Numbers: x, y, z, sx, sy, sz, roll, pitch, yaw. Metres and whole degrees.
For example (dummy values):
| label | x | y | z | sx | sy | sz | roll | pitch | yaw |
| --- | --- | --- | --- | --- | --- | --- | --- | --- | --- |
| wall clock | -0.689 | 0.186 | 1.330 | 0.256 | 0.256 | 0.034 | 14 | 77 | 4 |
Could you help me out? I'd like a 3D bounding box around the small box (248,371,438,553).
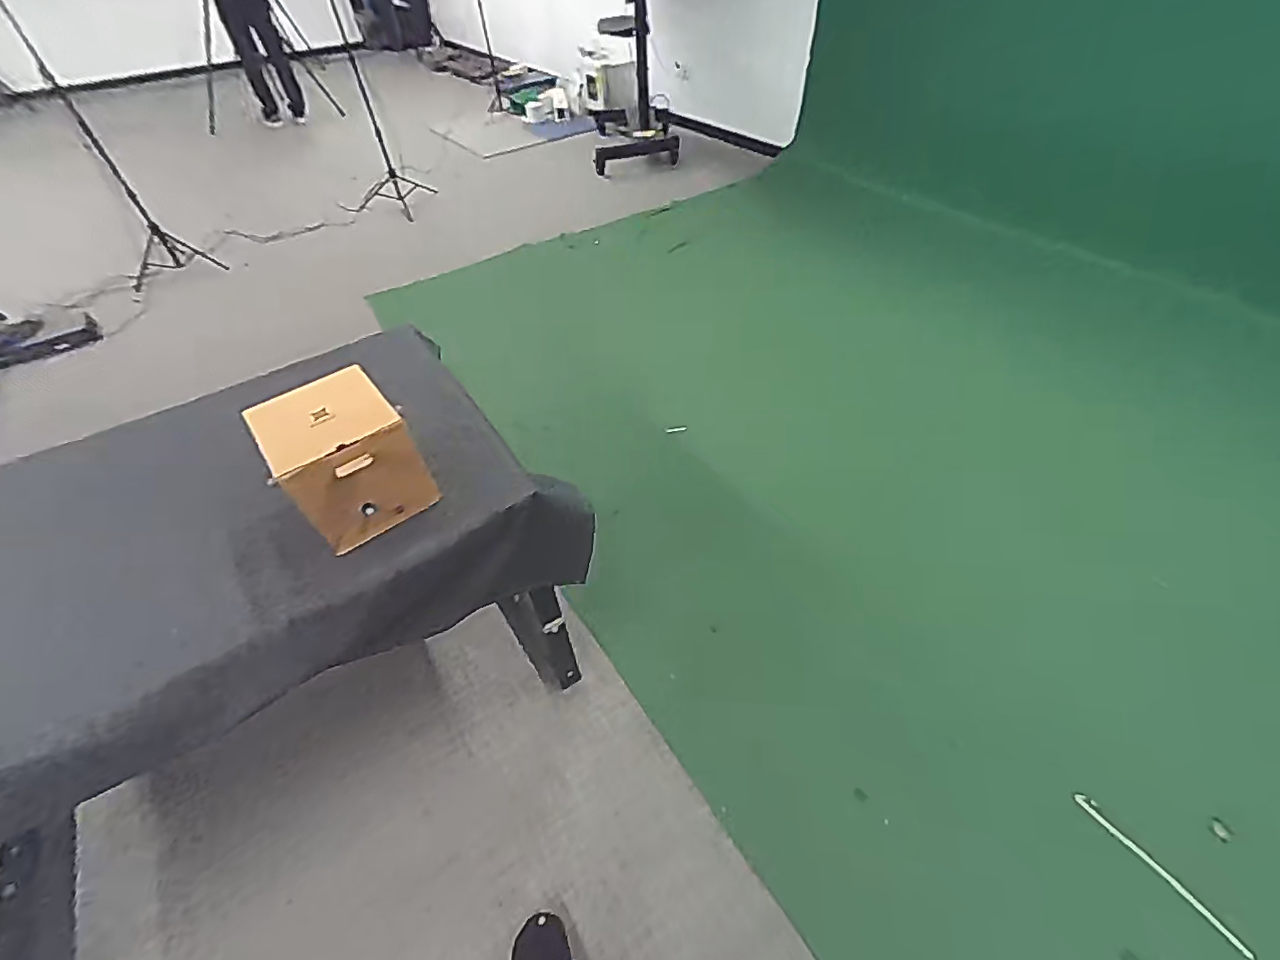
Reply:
| label | x | y | z | sx | sy | sz | roll | pitch | yaw |
| --- | --- | --- | --- | --- | --- | --- | --- | --- | --- |
| small box | -0.428 | -0.026 | 0.797 | 0.168 | 0.176 | 0.179 | -33 | 54 | -24 |
